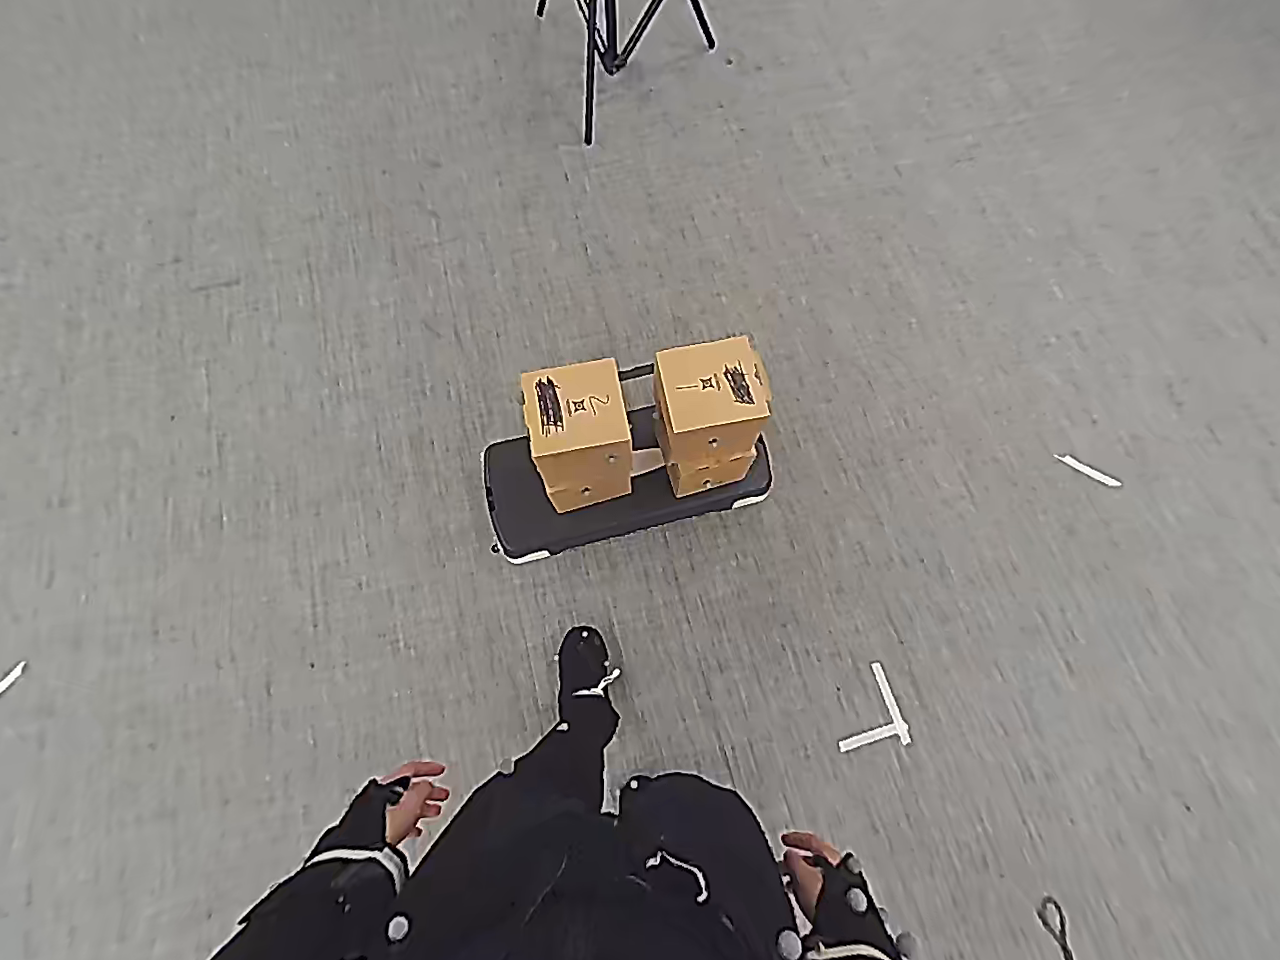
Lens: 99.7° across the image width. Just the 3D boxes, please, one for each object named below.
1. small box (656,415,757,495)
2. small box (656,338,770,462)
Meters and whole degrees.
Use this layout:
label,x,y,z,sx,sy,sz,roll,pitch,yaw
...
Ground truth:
label,x,y,z,sx,sy,sz,roll,pitch,yaw
small box,0.137,-0.085,1.192,0.168,0.176,0.179,-16,74,-5
small box,0.130,-0.147,1.039,0.179,0.176,0.168,-11,73,-2
